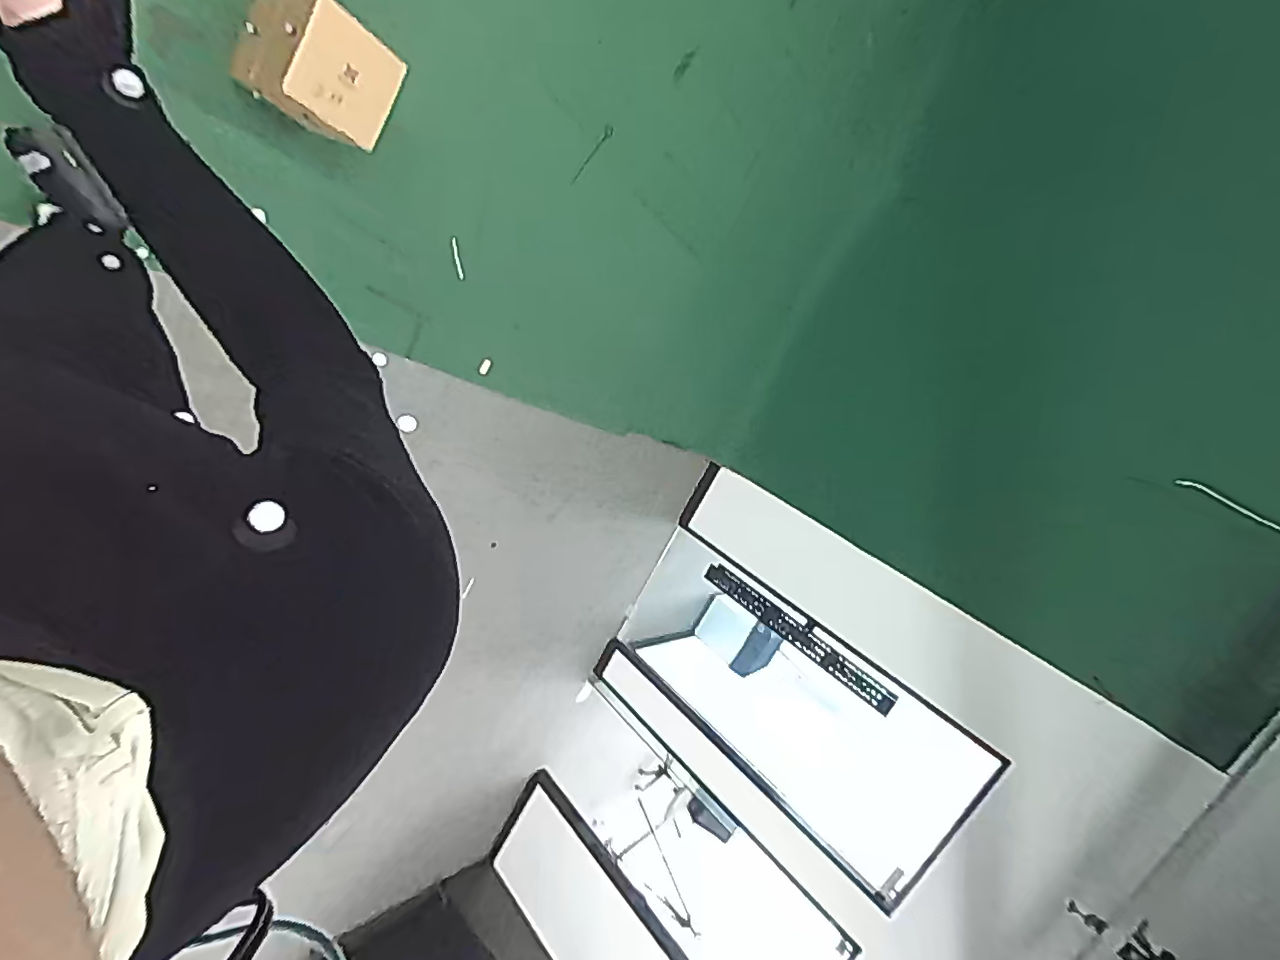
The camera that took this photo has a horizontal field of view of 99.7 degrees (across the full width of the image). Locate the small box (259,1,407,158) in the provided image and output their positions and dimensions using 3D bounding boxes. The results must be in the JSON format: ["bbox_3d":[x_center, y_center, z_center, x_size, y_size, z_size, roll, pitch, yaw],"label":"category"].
[{"bbox_3d":[-0.587,-0.760,1.030,0.168,0.176,0.179,17,106,-56],"label":"small box"}]
